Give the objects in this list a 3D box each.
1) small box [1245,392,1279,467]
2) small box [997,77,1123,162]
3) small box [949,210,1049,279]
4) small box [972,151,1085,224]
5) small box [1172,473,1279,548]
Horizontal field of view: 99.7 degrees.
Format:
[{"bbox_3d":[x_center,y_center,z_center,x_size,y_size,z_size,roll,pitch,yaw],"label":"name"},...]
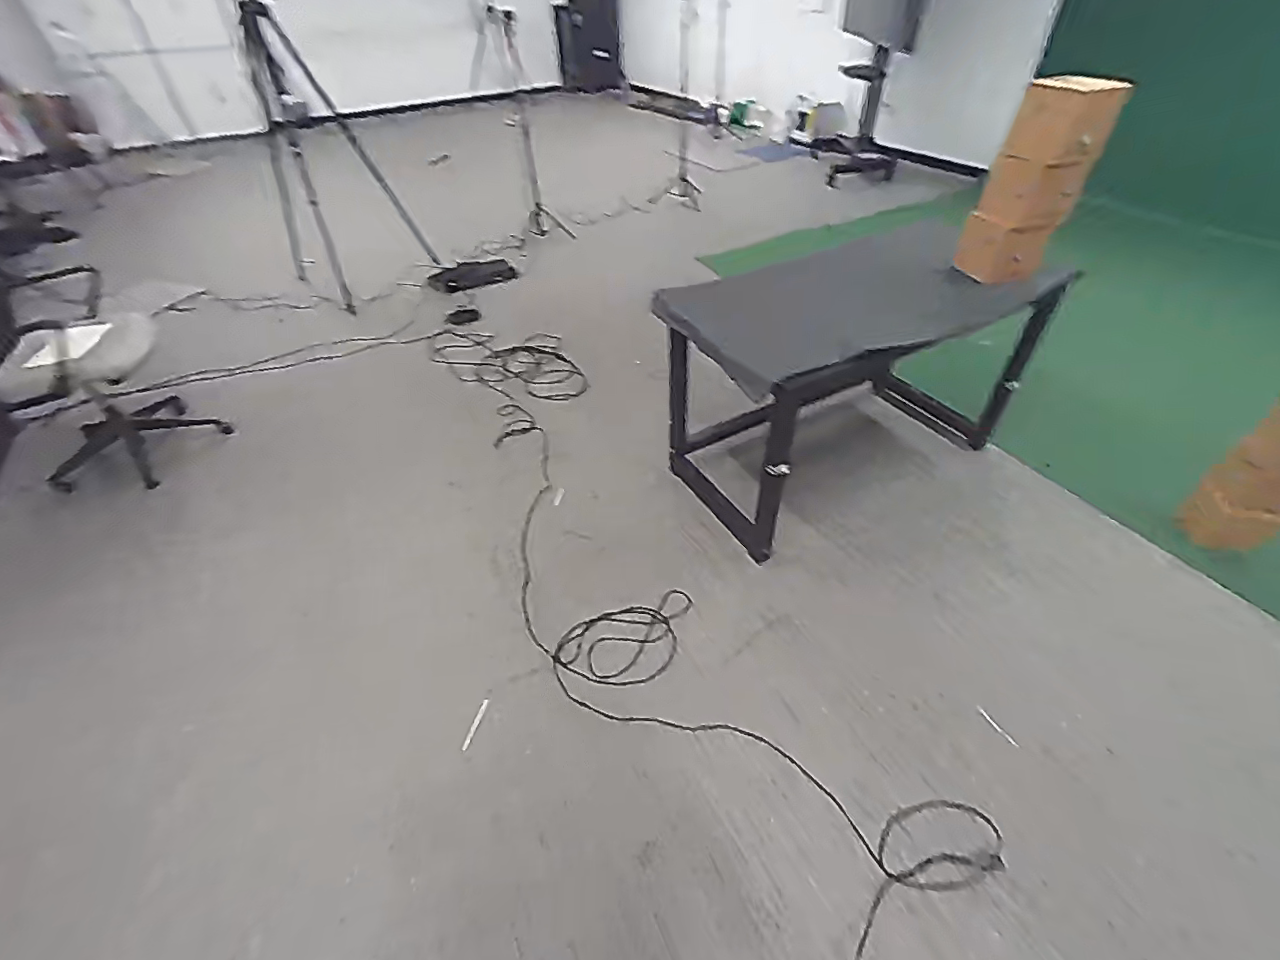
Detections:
[{"bbox_3d":[1.952,-0.144,1.597,0.168,0.176,0.179,25,50,27],"label":"small box"},{"bbox_3d":[1.120,-0.974,1.461,0.168,0.176,0.179,-16,44,-13],"label":"small box"},{"bbox_3d":[1.106,-0.735,1.684,0.168,0.176,0.179,-8,41,-5],"label":"small box"},{"bbox_3d":[1.119,-0.855,1.574,0.168,0.176,0.179,-11,42,-9],"label":"small box"},{"bbox_3d":[1.955,0.106,1.811,0.168,0.176,0.179,10,45,14],"label":"small box"}]
